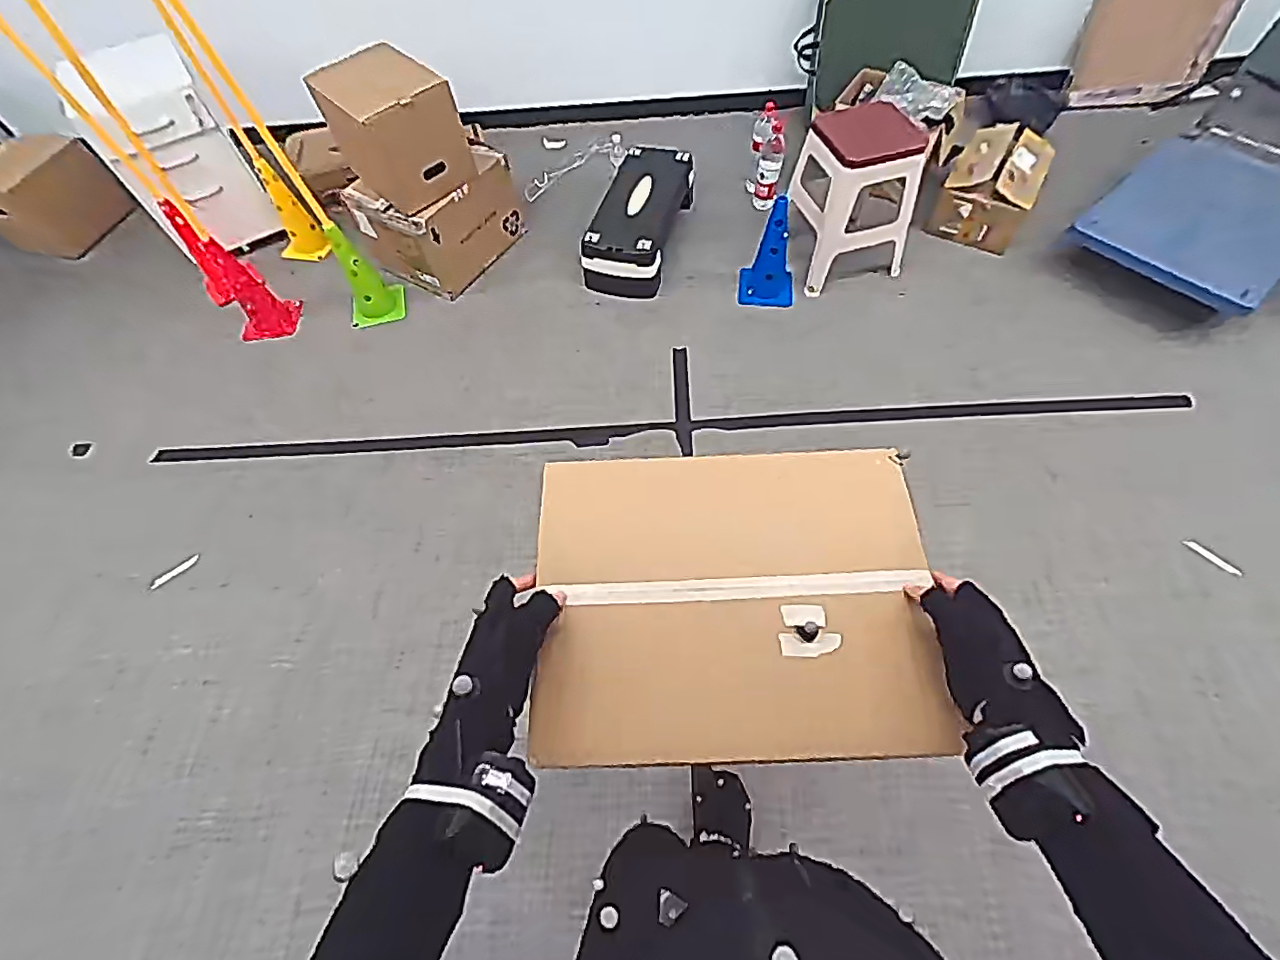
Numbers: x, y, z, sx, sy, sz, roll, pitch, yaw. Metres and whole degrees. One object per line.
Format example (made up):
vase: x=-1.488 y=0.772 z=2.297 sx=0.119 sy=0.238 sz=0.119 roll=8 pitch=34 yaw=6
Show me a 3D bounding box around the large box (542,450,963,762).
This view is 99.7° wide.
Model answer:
large box: x=0.100 y=0.179 z=0.700 sx=0.408 sy=0.320 sz=0.320 roll=-3 pitch=64 yaw=0
